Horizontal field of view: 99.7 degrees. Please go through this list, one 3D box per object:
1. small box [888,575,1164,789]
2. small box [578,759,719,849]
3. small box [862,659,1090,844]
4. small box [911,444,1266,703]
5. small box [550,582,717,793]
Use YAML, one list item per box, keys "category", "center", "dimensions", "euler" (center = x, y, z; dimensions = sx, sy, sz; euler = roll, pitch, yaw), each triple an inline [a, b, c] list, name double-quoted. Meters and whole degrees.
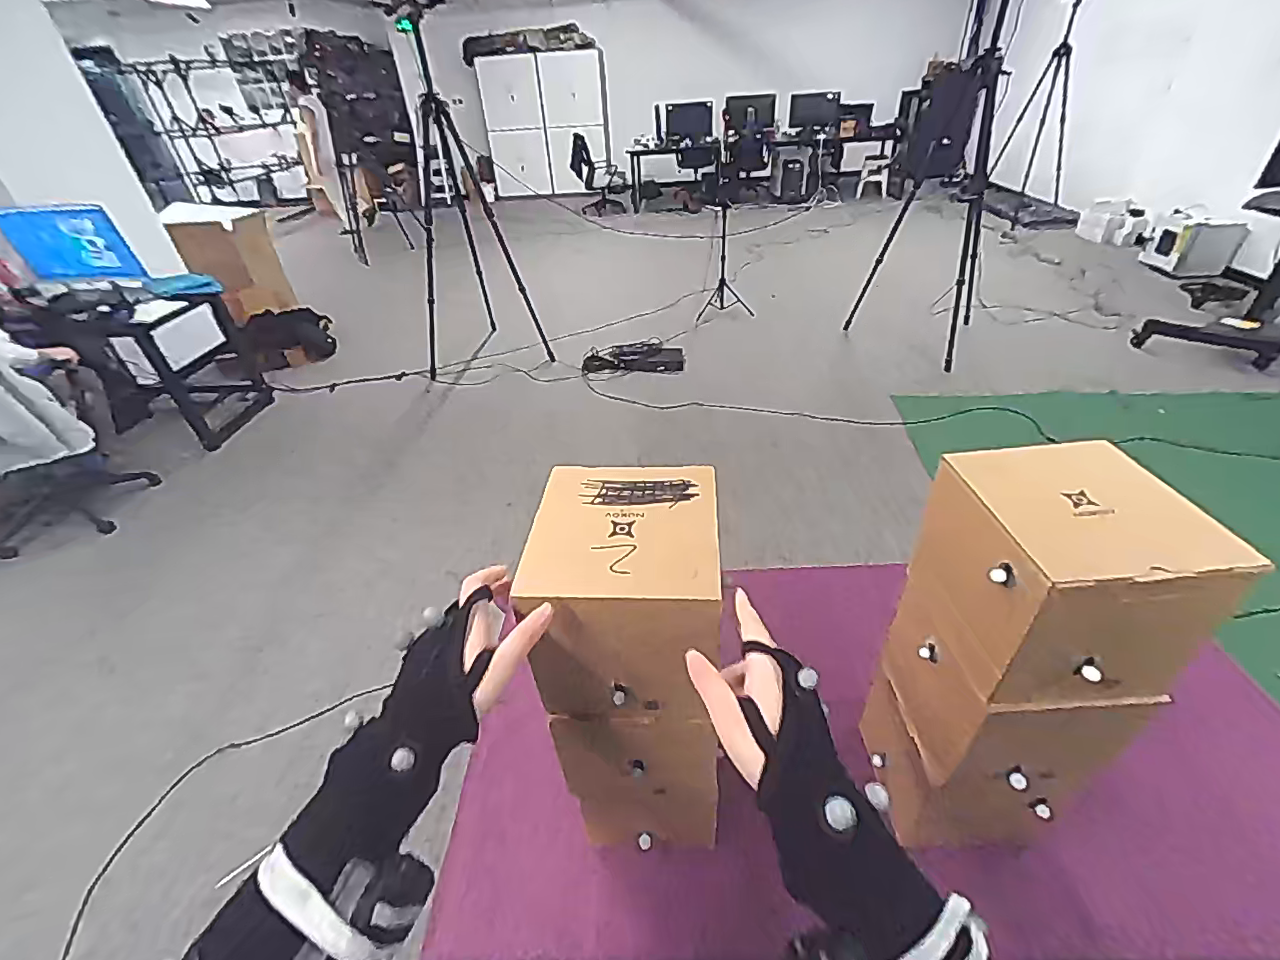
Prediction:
- category: "small box"
  center: [0.404, 0.219, 0.611]
  dimensions: [0.168, 0.176, 0.179]
  euler: [-4, 37, 2]
- category: "small box"
  center: [0.017, 0.365, 0.731]
  dimensions: [0.168, 0.176, 0.179]
  euler: [-2, 38, 4]
- category: "small box"
  center: [0.415, 0.351, 0.706]
  dimensions: [0.179, 0.176, 0.168]
  euler: [-3, 36, 3]
- category: "small box"
  center: [0.389, 0.086, 0.519]
  dimensions: [0.168, 0.176, 0.179]
  euler: [-5, 38, 1]
- category: "small box"
  center: [0.003, 0.240, 0.627]
  dimensions: [0.168, 0.176, 0.179]
  euler: [-1, 38, 4]
